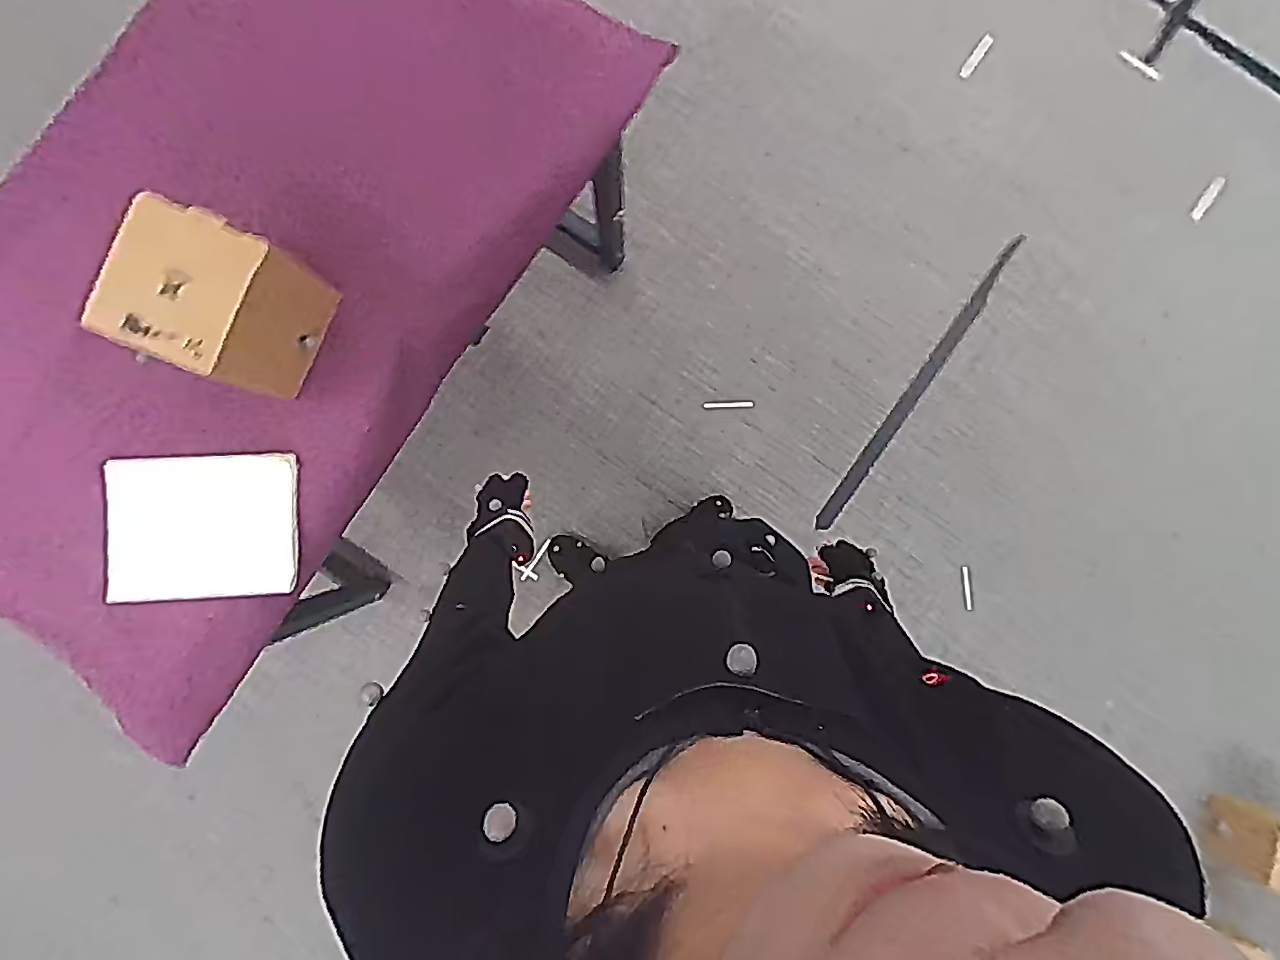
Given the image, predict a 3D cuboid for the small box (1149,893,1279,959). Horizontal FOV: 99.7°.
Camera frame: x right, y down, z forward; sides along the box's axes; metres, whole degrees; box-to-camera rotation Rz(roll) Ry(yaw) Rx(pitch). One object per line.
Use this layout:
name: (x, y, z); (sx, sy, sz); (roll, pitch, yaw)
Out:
small box: (1.506, 1.249, 1.422); (0.168, 0.176, 0.179); (16, 87, -1)

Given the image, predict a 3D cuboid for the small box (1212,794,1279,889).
small box: (1.704, 0.972, 1.434); (0.179, 0.176, 0.168); (15, 87, 0)

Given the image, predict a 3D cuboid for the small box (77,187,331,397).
small box: (-0.547, -0.231, 0.710); (0.168, 0.176, 0.179); (23, 87, 0)
